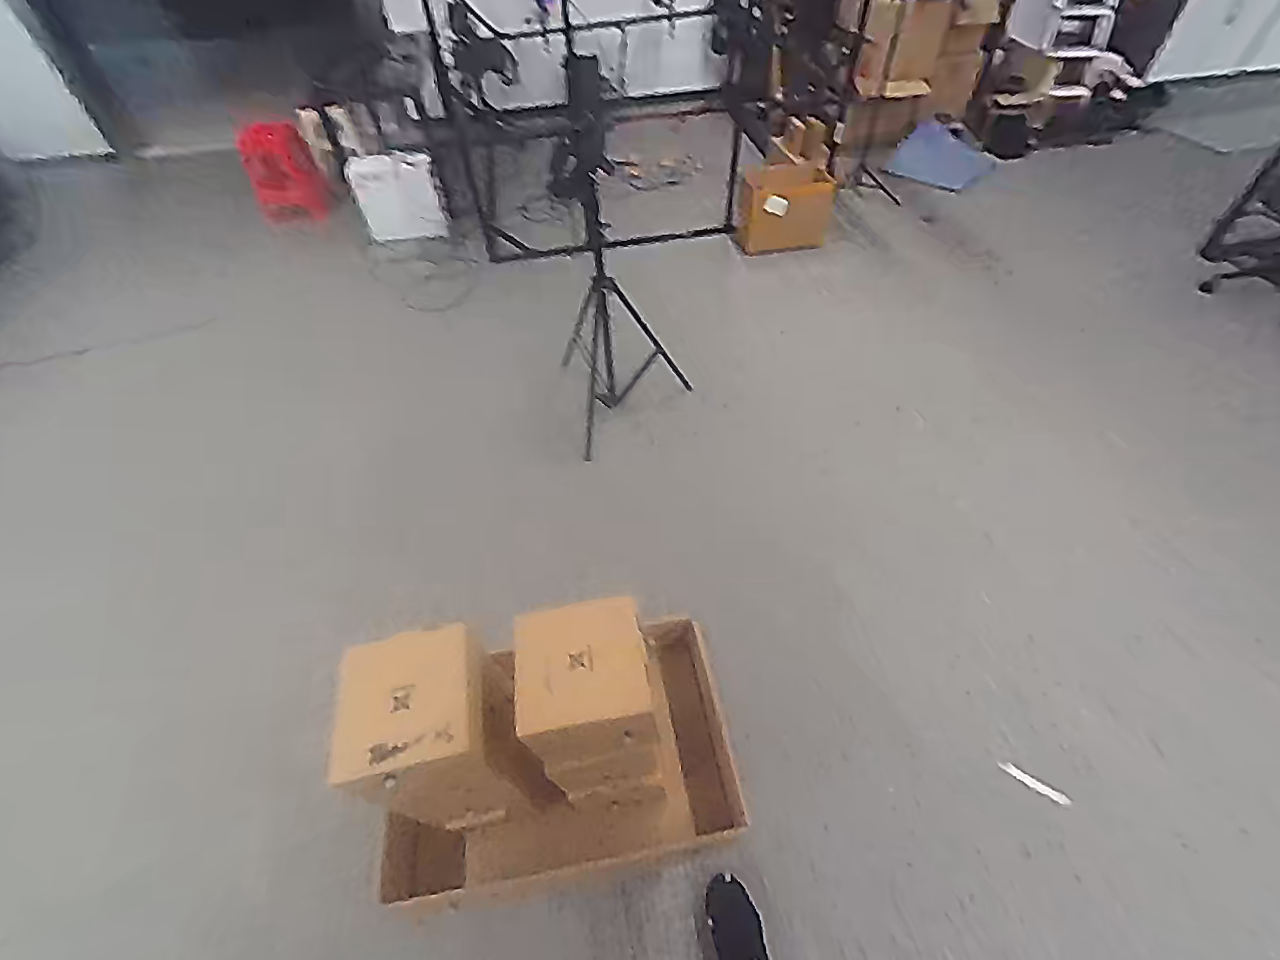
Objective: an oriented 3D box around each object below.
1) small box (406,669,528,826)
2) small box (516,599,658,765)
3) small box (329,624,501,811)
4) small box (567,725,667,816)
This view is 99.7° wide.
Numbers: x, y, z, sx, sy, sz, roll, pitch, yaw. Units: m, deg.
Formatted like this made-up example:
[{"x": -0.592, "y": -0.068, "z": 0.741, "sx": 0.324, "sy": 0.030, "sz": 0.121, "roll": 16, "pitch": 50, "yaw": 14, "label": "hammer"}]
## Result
[{"x": -0.283, "y": 0.437, "z": 0.882, "sx": 0.168, "sy": 0.176, "sz": 0.179, "roll": -11, "pitch": 51, "yaw": -6, "label": "small box"}, {"x": -0.071, "y": 0.293, "z": 0.778, "sx": 0.179, "sy": 0.176, "sz": 0.168, "roll": -10, "pitch": 51, "yaw": -1, "label": "small box"}, {"x": -0.297, "y": 0.332, "z": 0.755, "sx": 0.168, "sy": 0.176, "sz": 0.179, "roll": -12, "pitch": 50, "yaw": -5, "label": "small box"}, {"x": -0.043, "y": 0.512, "z": 1.020, "sx": 0.168, "sy": 0.176, "sz": 0.179, "roll": -9, "pitch": 51, "yaw": -1, "label": "small box"}]
